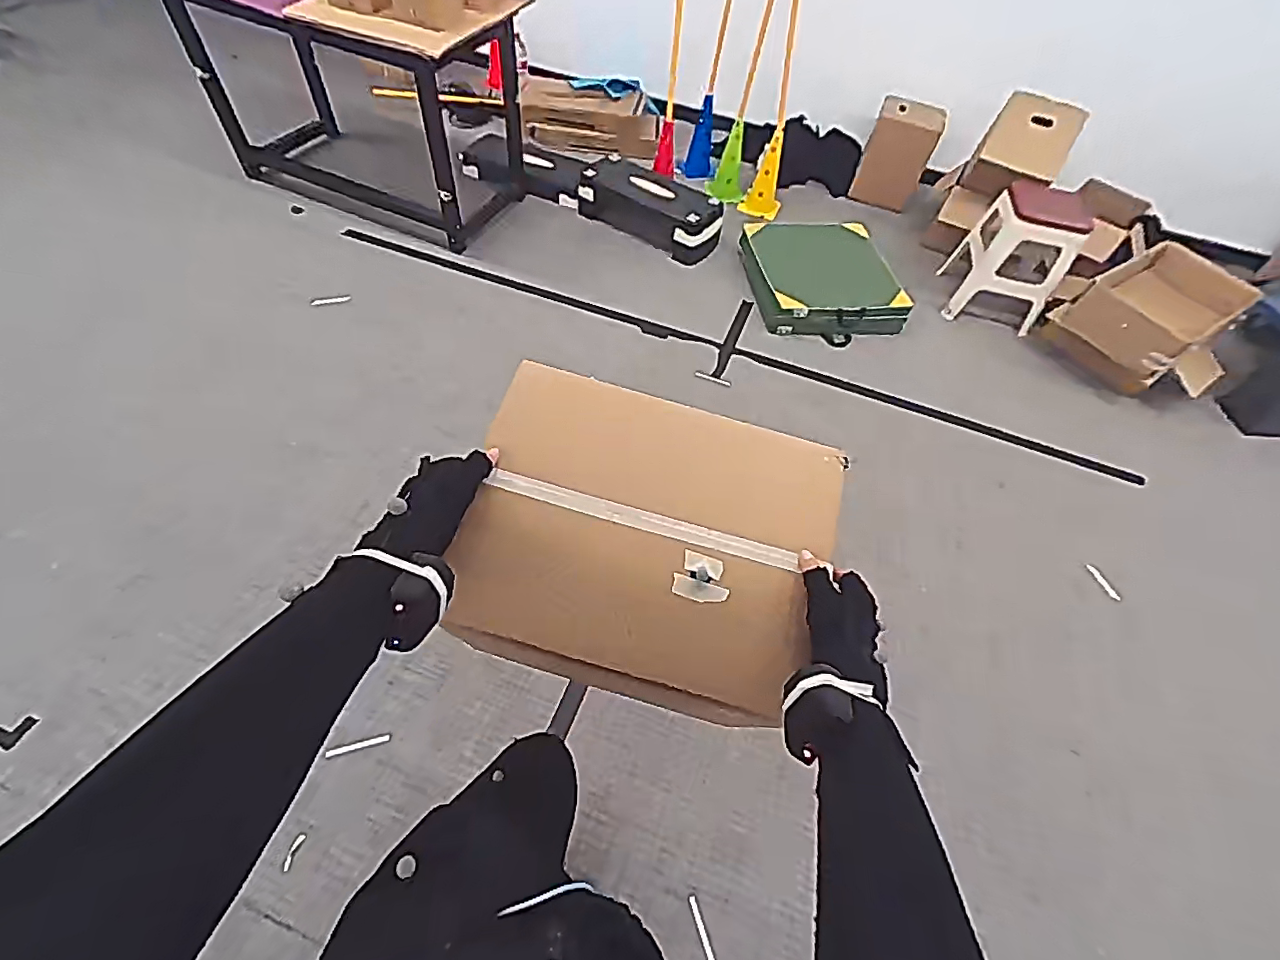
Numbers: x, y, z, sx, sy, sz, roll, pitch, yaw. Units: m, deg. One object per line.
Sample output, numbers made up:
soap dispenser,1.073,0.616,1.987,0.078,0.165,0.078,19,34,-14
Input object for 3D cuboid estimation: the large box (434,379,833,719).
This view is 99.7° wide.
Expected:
large box,-0.003,0.116,0.745,0.408,0.320,0.320,16,66,0
